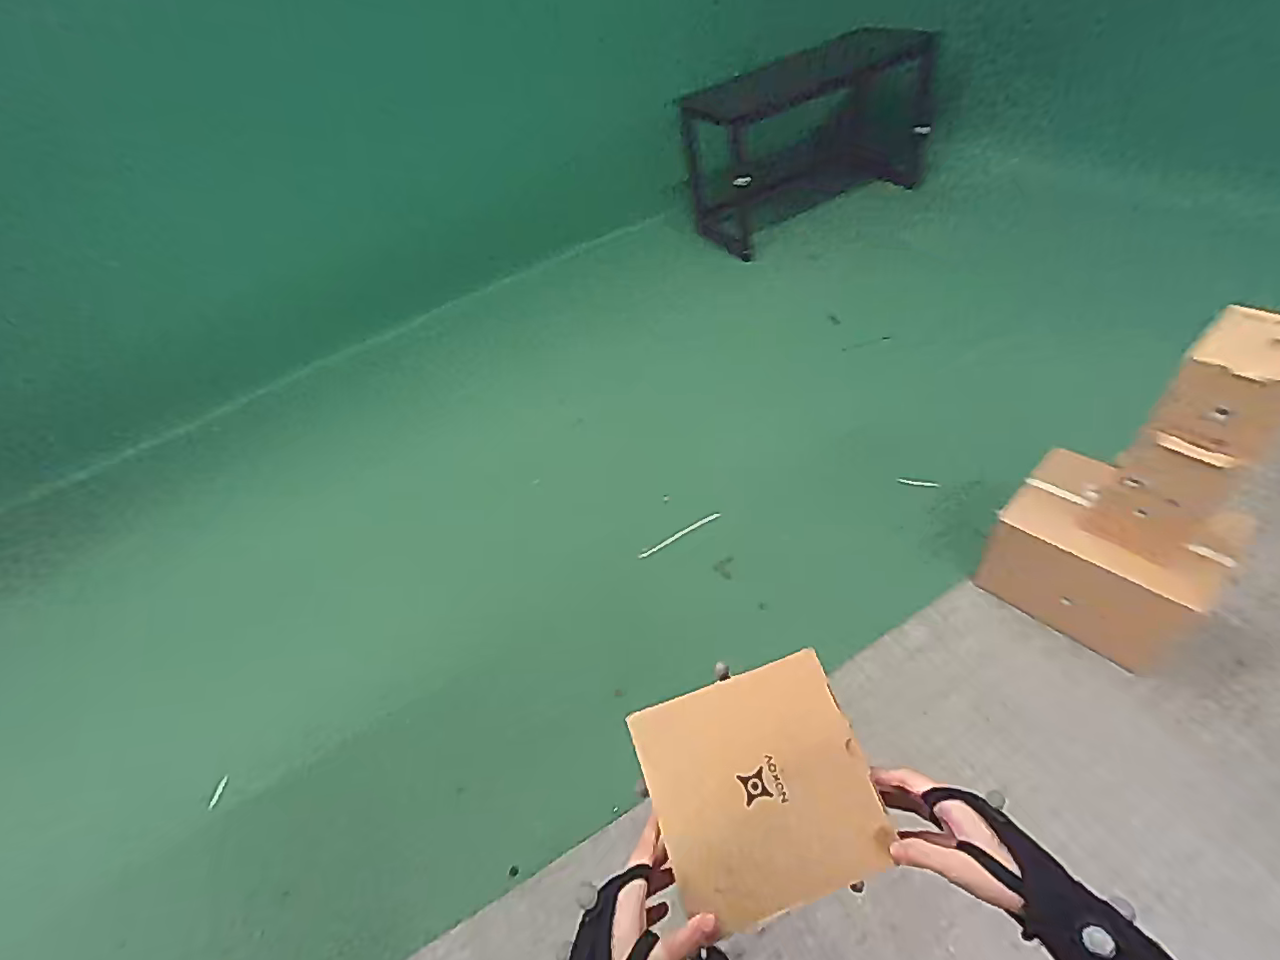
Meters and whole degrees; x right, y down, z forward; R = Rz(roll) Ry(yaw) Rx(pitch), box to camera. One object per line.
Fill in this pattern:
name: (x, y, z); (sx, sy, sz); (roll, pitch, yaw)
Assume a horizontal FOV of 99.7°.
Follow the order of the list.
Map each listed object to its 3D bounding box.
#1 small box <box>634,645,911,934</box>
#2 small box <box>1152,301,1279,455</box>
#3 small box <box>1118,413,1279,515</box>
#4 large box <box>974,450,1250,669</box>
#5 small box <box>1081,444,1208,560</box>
small box: (0.104, 0.272, 0.504); (0.179, 0.176, 0.168); (-17, 65, -6)
small box: (1.053, -0.175, 0.943); (0.179, 0.176, 0.168); (-39, 49, -15)
small box: (1.092, -0.064, 1.058); (0.179, 0.176, 0.168); (-37, 48, -15)
large box: (1.156, 0.192, 1.372); (0.320, 0.320, 0.408); (-39, 48, -20)
small box: (1.119, 0.042, 1.180); (0.168, 0.176, 0.179); (-38, 49, -16)
